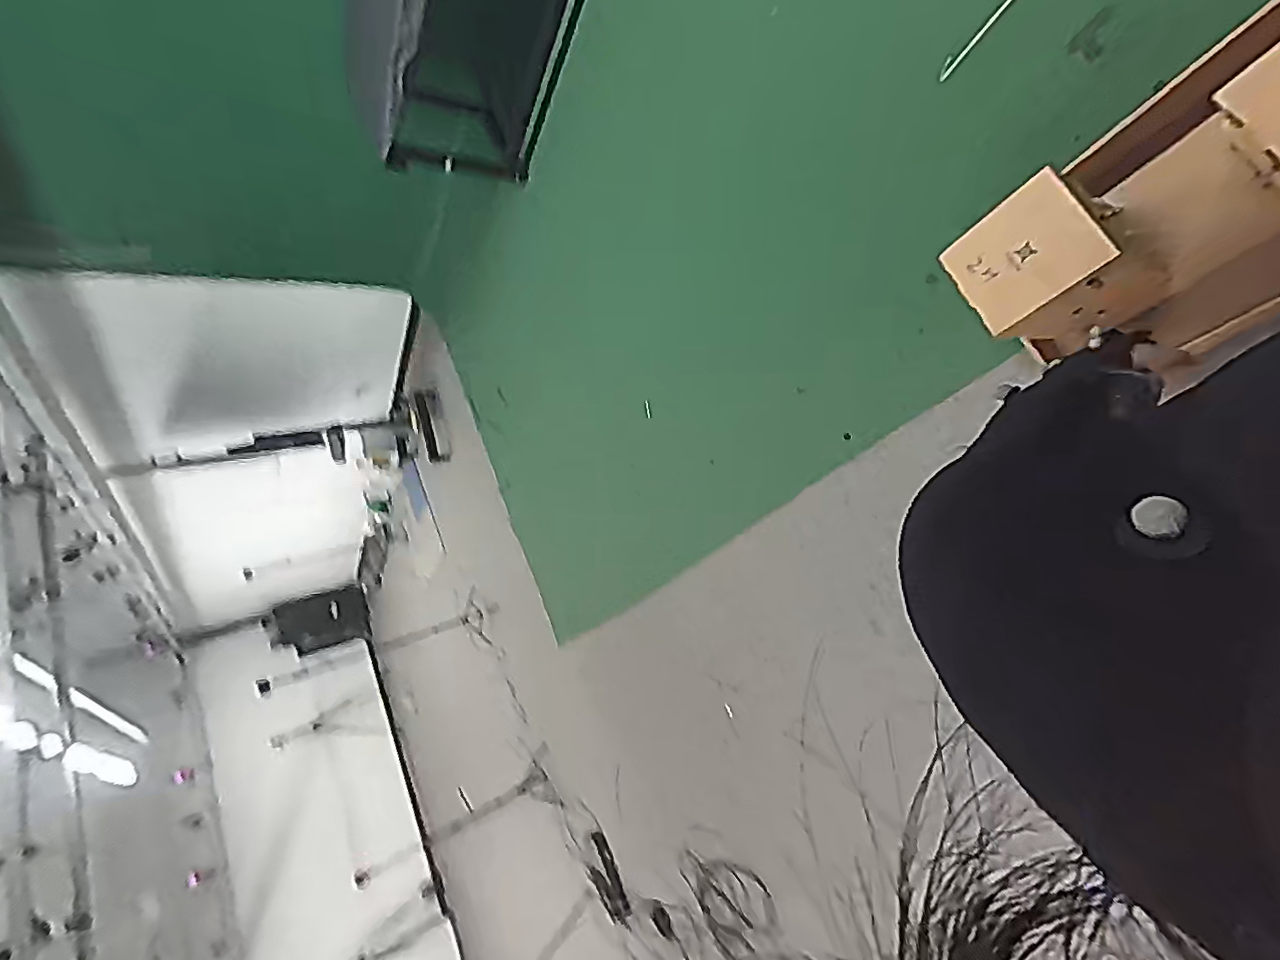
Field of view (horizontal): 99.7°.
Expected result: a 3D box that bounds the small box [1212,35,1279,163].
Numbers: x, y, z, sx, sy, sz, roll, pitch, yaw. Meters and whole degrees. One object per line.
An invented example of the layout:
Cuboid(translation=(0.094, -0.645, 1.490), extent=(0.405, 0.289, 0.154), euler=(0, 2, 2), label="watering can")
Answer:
Cuboid(translation=(0.919, -0.521, 0.702), extent=(0.179, 0.176, 0.168), euler=(-46, 66, 49), label="small box")

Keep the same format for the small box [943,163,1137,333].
Cuboid(translation=(0.631, -0.354, 0.852), extent=(0.179, 0.176, 0.168), euler=(-44, 66, 49), label="small box")

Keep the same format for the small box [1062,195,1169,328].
Cuboid(translation=(0.878, -0.422, 1.059), extent=(0.168, 0.176, 0.179), euler=(-44, 66, 48), label="small box")

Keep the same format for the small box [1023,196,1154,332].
Cuboid(translation=(0.753, -0.381, 0.961), extent=(0.179, 0.176, 0.168), euler=(-42, 68, 48), label="small box")
